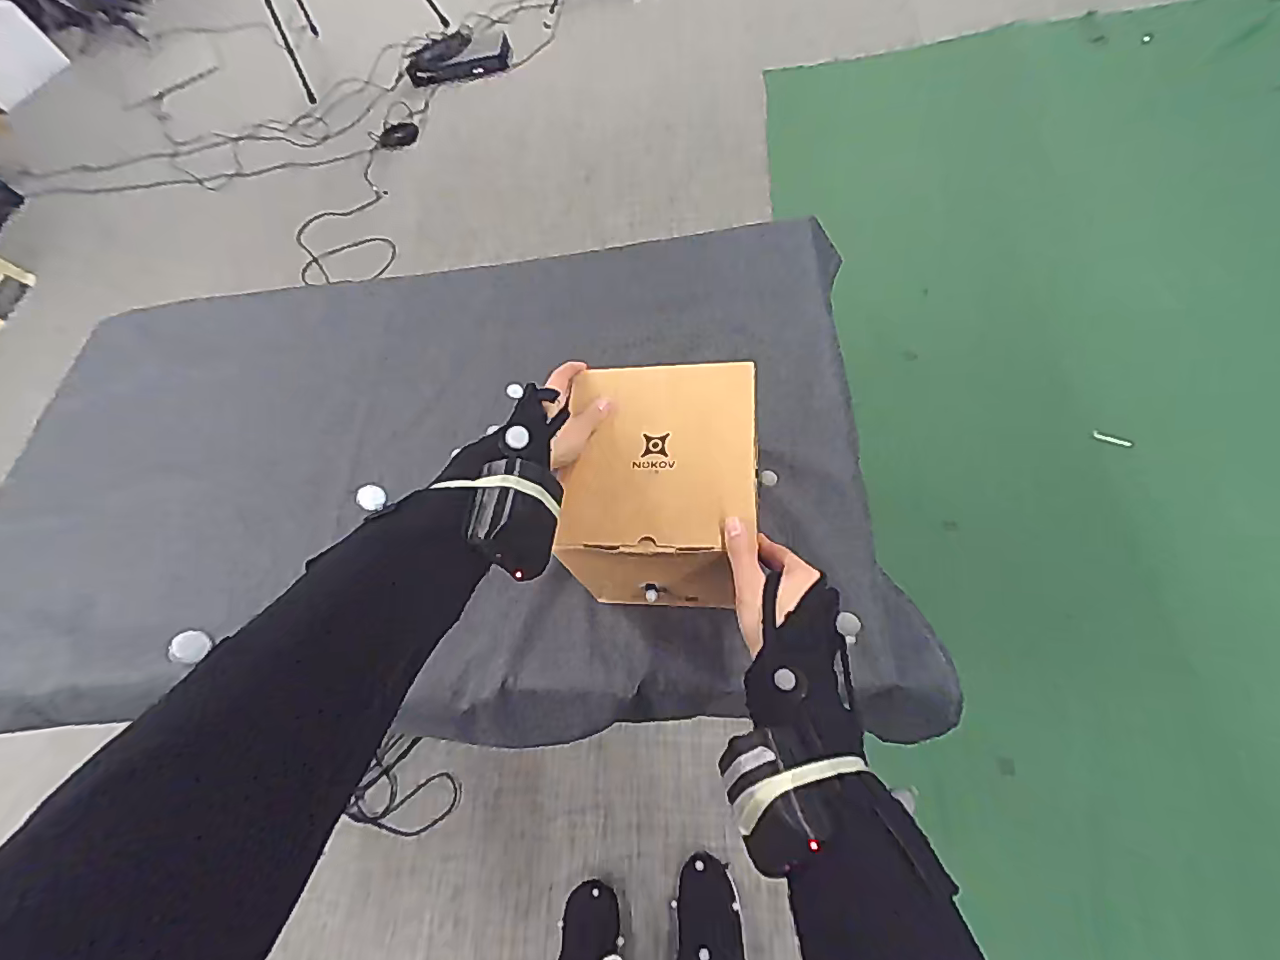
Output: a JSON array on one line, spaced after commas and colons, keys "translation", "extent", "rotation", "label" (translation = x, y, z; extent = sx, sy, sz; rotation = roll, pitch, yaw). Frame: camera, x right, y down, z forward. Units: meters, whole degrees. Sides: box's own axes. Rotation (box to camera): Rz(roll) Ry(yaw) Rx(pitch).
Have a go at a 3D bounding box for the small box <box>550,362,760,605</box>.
[{"translation": [0.029, 0.009, 0.520], "extent": [0.168, 0.176, 0.179], "rotation": [0, 63, 11], "label": "small box"}]
